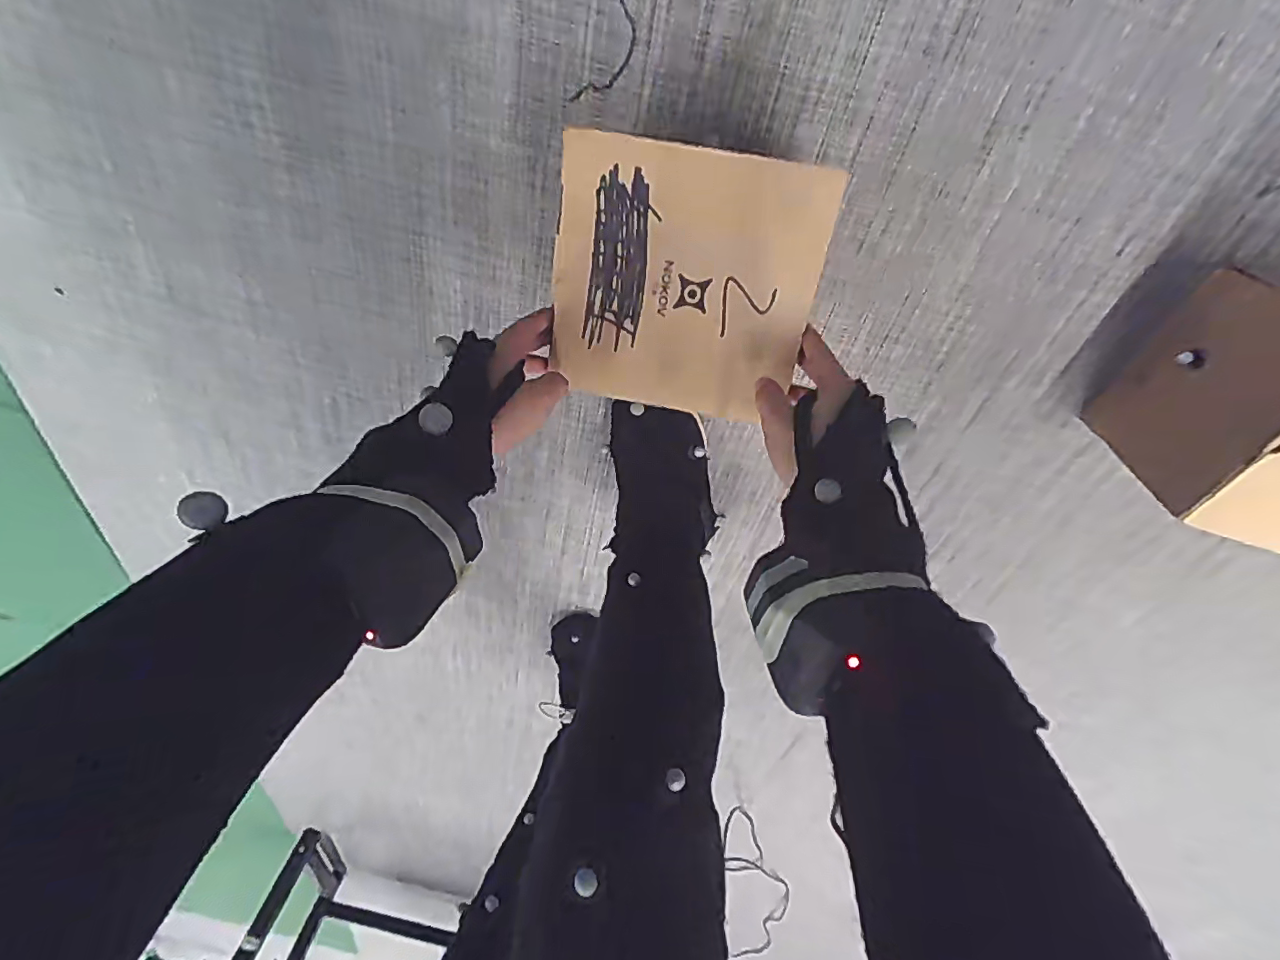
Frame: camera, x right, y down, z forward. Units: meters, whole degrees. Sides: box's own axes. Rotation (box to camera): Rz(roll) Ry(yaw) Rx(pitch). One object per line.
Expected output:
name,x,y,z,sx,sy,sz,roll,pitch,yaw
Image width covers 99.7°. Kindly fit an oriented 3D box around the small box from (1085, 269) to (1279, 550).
small box,0.547,-0.056,0.456,0.179,0.176,0.168,17,129,-2
